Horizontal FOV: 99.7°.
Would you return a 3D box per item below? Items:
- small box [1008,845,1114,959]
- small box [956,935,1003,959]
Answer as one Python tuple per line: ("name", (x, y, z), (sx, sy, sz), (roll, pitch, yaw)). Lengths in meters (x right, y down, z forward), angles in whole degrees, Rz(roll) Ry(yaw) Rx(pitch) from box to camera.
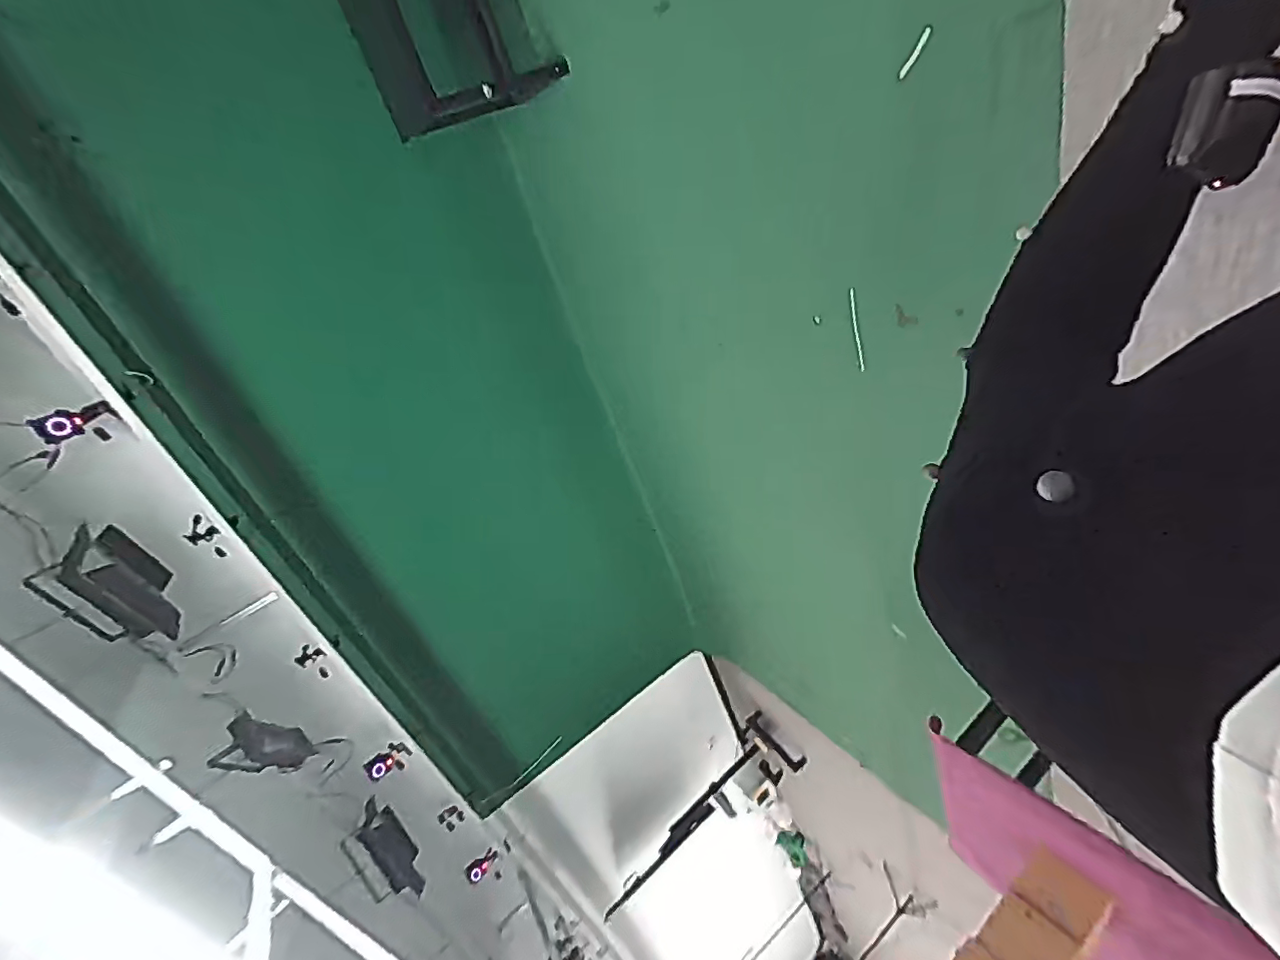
("small box", (1.127, 1.140, 1.452), (0.179, 0.176, 0.168), (27, 144, 54))
("small box", (0.863, 1.291, 1.330), (0.179, 0.176, 0.168), (28, 144, 52))
